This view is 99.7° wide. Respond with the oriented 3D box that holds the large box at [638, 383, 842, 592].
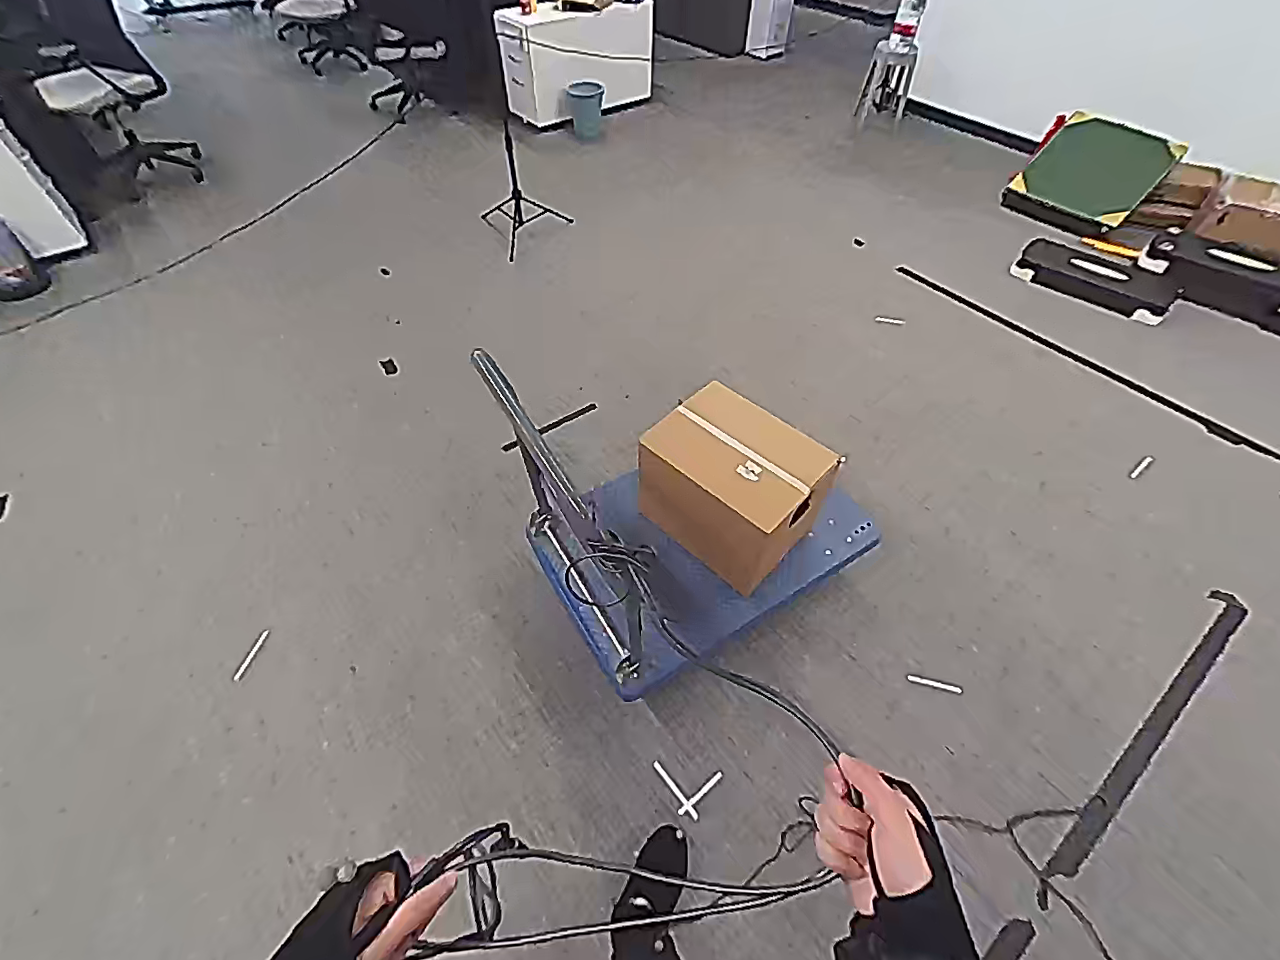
[{"bbox_3d":[0.242,0.016,1.441,0.408,0.320,0.320,38,61,24],"label":"large box"}]
